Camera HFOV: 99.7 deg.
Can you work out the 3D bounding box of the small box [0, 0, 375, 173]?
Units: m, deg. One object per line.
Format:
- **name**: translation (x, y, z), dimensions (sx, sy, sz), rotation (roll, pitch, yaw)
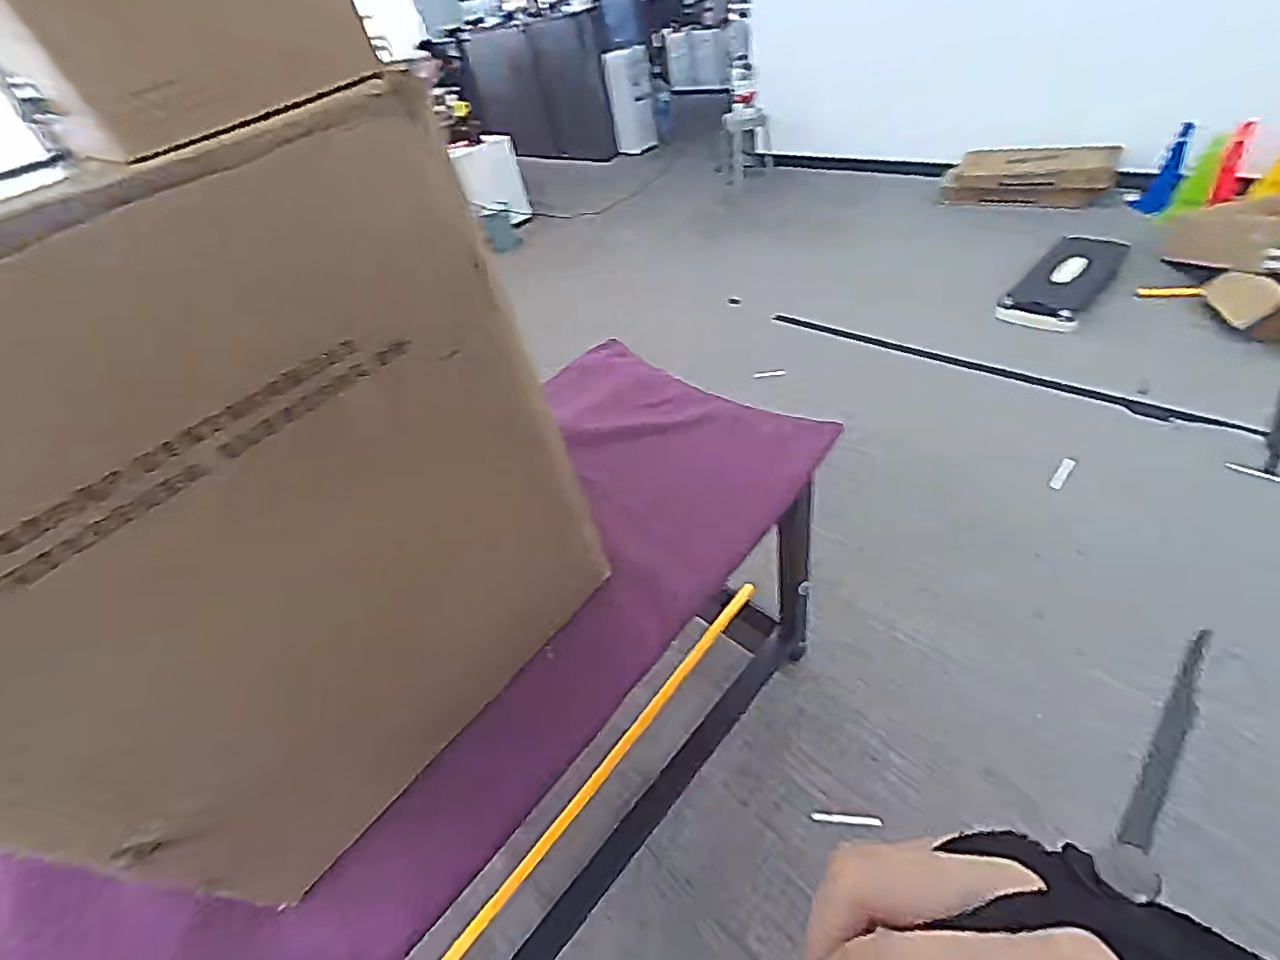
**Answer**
- **small box**: translation (-0.306, -0.304, 0.325), dimensions (0.168, 0.176, 0.179), rotation (24, 57, 33)
